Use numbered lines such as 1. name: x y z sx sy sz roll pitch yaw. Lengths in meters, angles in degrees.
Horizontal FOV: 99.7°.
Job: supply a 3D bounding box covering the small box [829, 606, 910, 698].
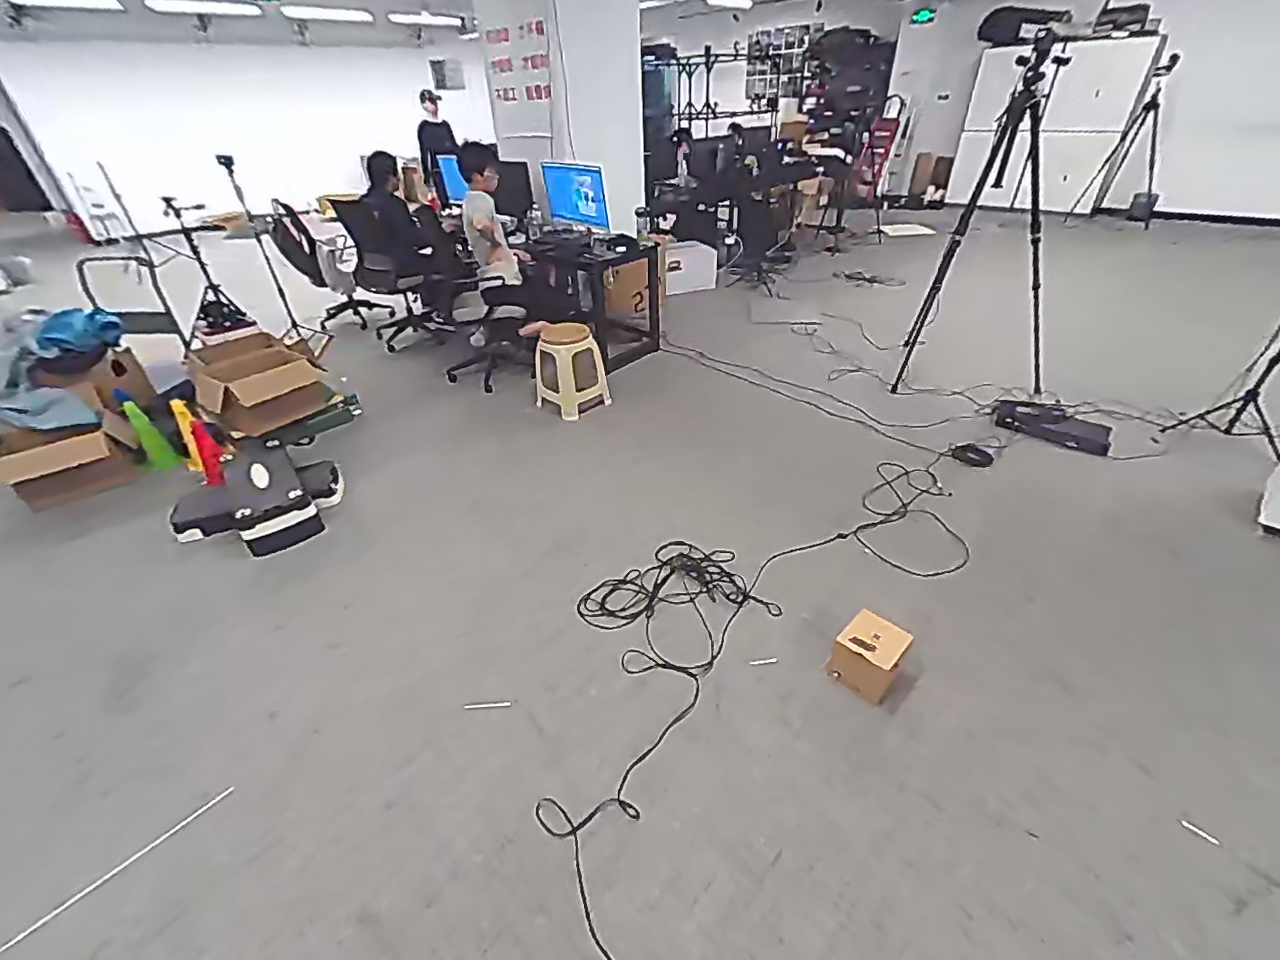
1. small box: 0.706 0.536 1.678 0.179 0.176 0.168 -30 43 -33
